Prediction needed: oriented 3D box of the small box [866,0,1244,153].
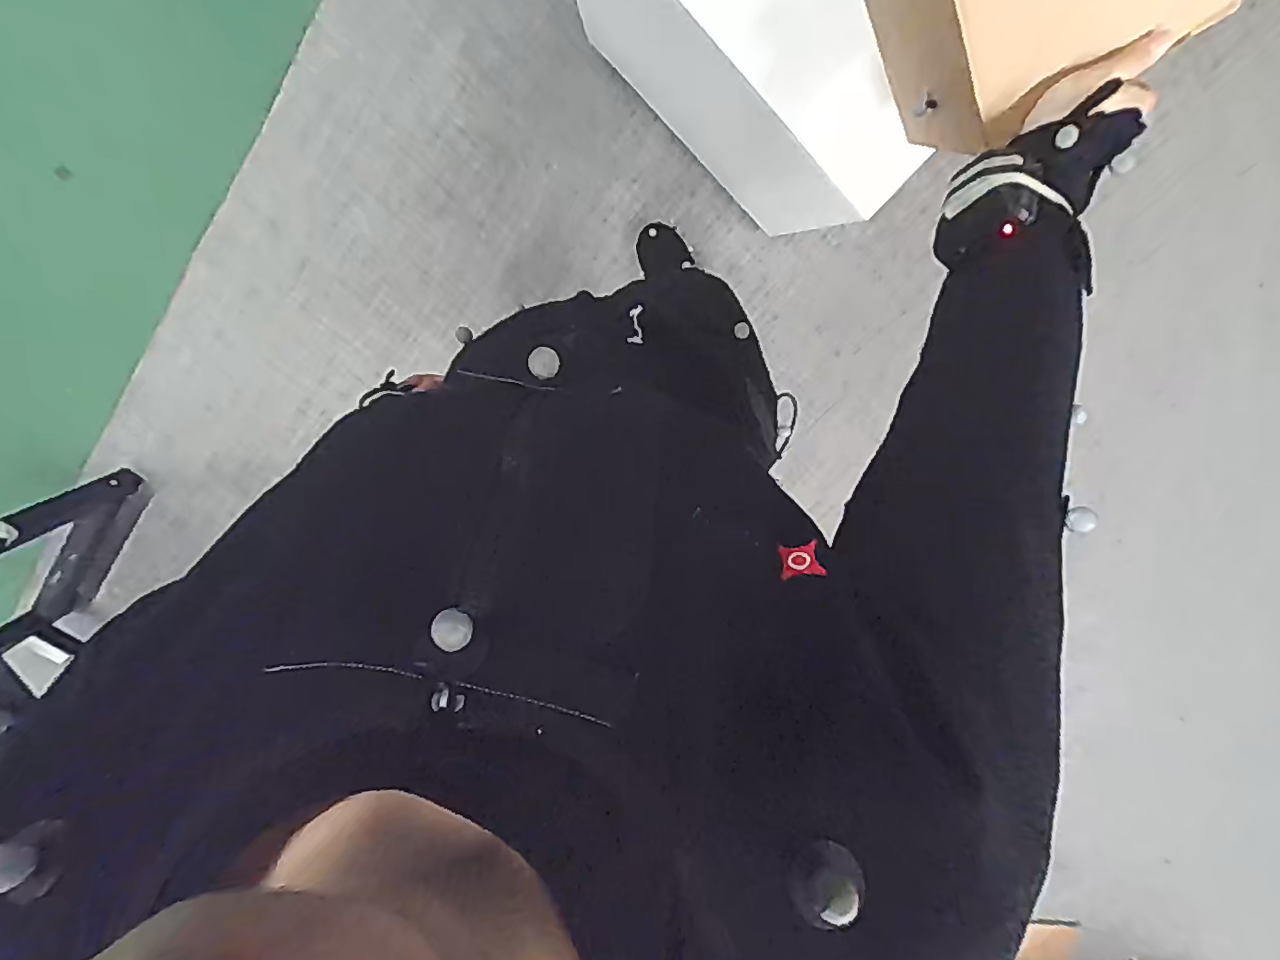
[{"bbox_3d":[0.293,-0.389,0.413,0.168,0.176,0.179,-29,118,19],"label":"small box"}]
